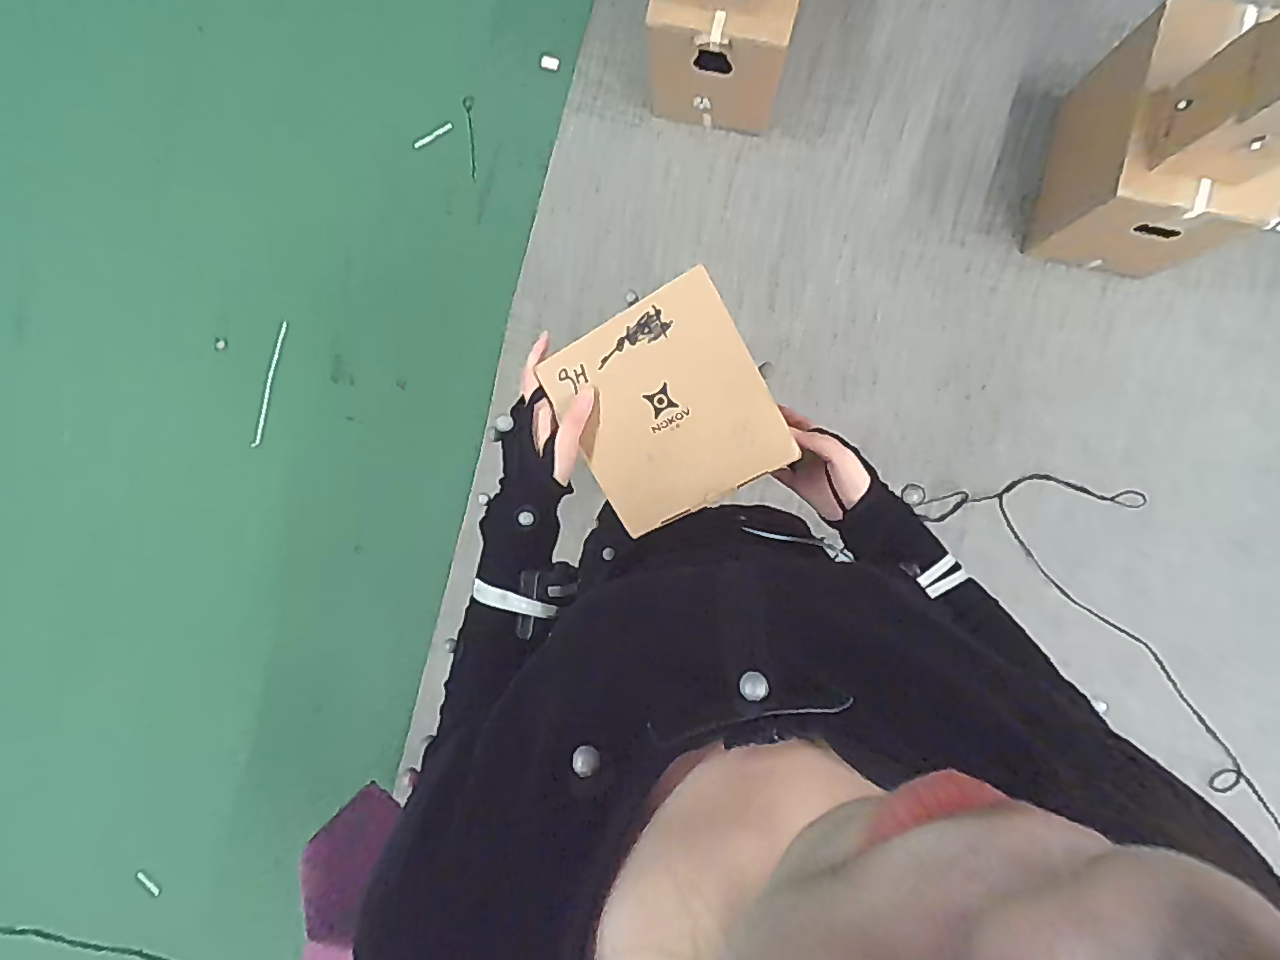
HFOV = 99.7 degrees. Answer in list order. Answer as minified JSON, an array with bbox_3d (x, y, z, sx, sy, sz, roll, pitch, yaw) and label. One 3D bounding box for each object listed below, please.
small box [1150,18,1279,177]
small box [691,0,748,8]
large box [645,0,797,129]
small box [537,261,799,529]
[{"bbox_3d":[1.107,-0.682,0.985,0.179,0.176,0.168,12,93,5],"label":"small box"},{"bbox_3d":[0.159,-1.067,1.042,0.179,0.176,0.168,12,92,5],"label":"small box"},{"bbox_3d":[0.211,-1.139,1.281,0.320,0.320,0.408,13,92,4],"label":"large box"},{"bbox_3d":[0.036,-0.084,0.526,0.168,0.176,0.179,-28,98,15],"label":"small box"}]
